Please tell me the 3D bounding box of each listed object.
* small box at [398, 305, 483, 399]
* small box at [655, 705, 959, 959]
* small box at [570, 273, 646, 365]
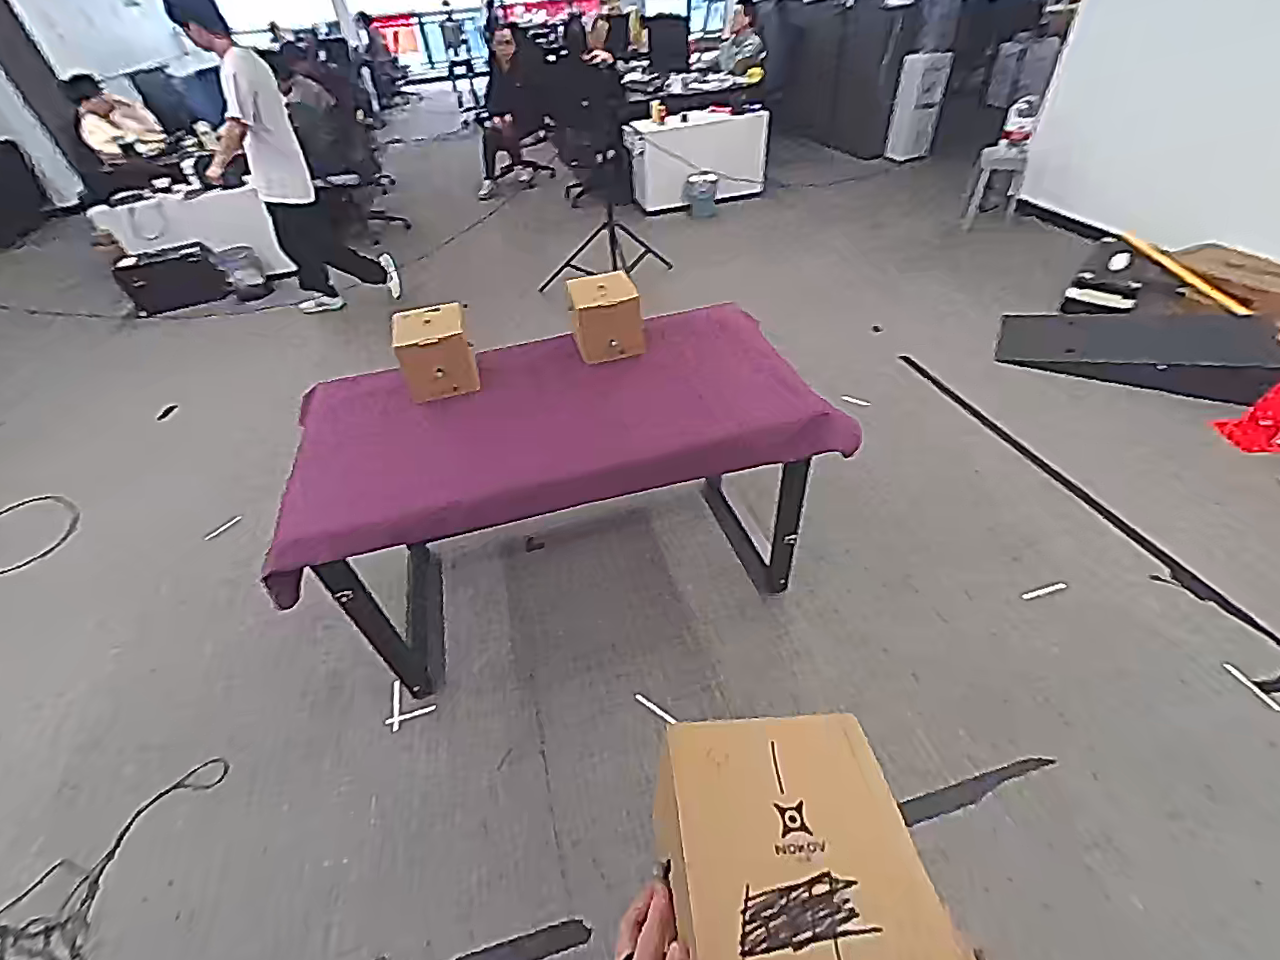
[{"bbox_3d":[-0.513,-0.325,1.402,0.168,0.176,0.179,-14,46,-9],"label":"small box"},{"bbox_3d":[0.103,0.309,0.430,0.168,0.176,0.179,-1,34,-6],"label":"small box"},{"bbox_3d":[-0.087,-0.441,1.479,0.168,0.176,0.179,-14,46,-8],"label":"small box"}]
